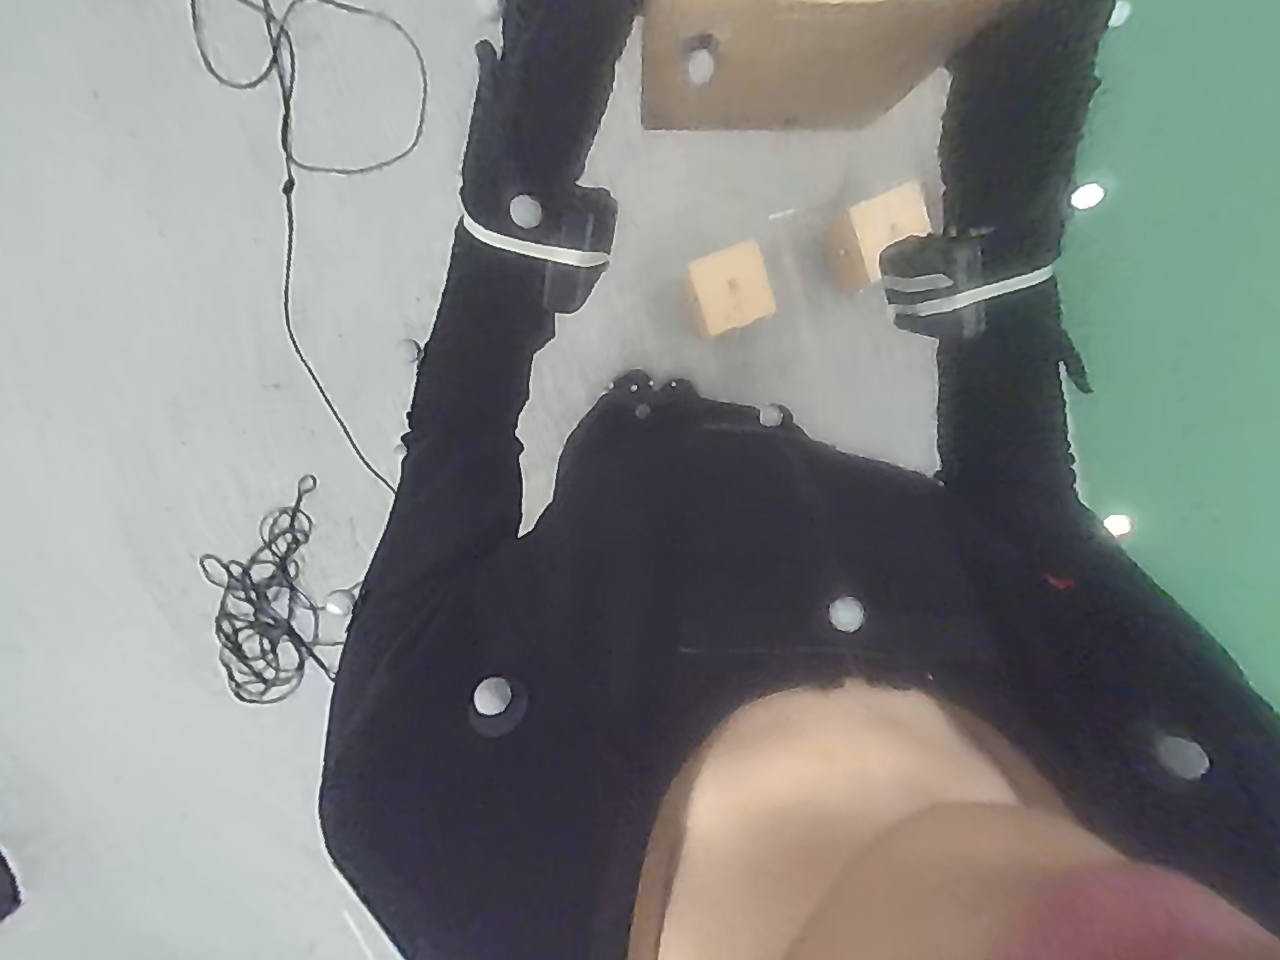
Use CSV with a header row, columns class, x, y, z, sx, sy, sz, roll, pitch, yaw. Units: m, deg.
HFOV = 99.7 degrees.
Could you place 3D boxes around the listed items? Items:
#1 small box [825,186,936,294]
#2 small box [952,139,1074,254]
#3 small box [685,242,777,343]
class,x,y,z,sx,sy,sz,roll,pitch,yaw
small box,0.571,-0.565,1.303,0.168,0.176,0.179,-22,99,3
small box,0.879,-0.665,1.288,0.168,0.176,0.179,-17,100,4
small box,0.215,-0.448,1.321,0.168,0.176,0.179,-20,100,4
